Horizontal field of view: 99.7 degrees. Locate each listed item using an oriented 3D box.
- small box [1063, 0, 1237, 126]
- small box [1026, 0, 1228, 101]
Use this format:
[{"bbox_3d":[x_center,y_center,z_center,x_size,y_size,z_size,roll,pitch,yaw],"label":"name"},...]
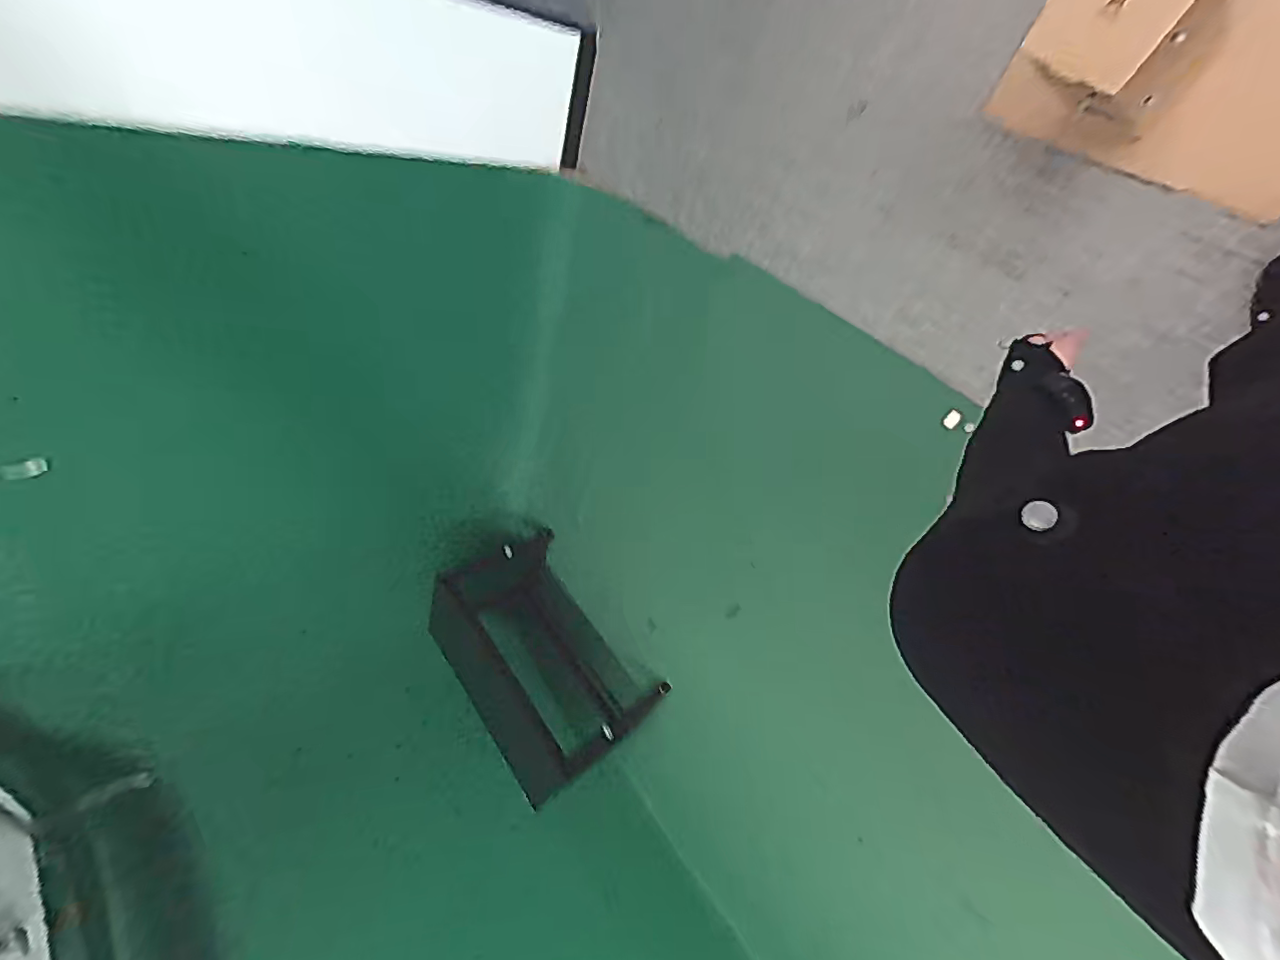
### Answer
[{"bbox_3d":[0.963,-0.802,1.022,0.168,0.176,0.179,48,136,24],"label":"small box"},{"bbox_3d":[0.737,-0.702,0.806,0.168,0.176,0.179,49,137,22],"label":"small box"}]
